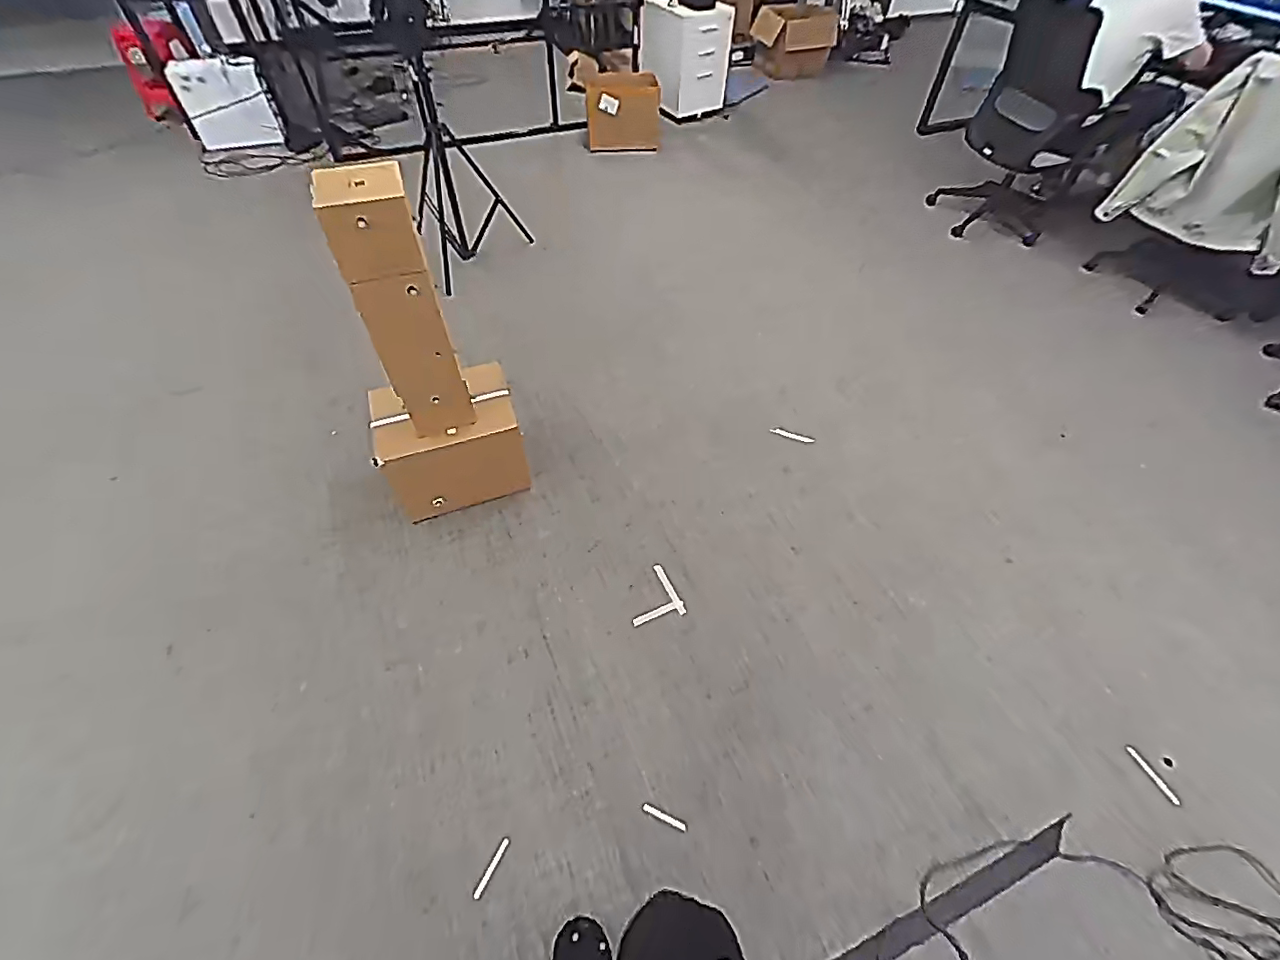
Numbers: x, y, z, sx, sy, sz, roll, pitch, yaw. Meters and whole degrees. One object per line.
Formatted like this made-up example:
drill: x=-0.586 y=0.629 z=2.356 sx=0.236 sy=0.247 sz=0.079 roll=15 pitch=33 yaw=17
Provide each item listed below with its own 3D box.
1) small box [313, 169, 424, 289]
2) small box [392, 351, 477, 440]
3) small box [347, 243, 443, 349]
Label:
small box: x=-0.582 y=-0.542 z=1.174 sx=0.179 sy=0.176 sz=0.168 roll=-15 pitch=55 yaw=-13
small box: x=-0.590 y=-0.241 z=1.562 sx=0.179 sy=0.176 sz=0.168 roll=-18 pitch=56 yaw=-16
small box: x=-0.585 y=-0.443 z=1.302 sx=0.179 sy=0.176 sz=0.168 roll=-16 pitch=54 yaw=-13
